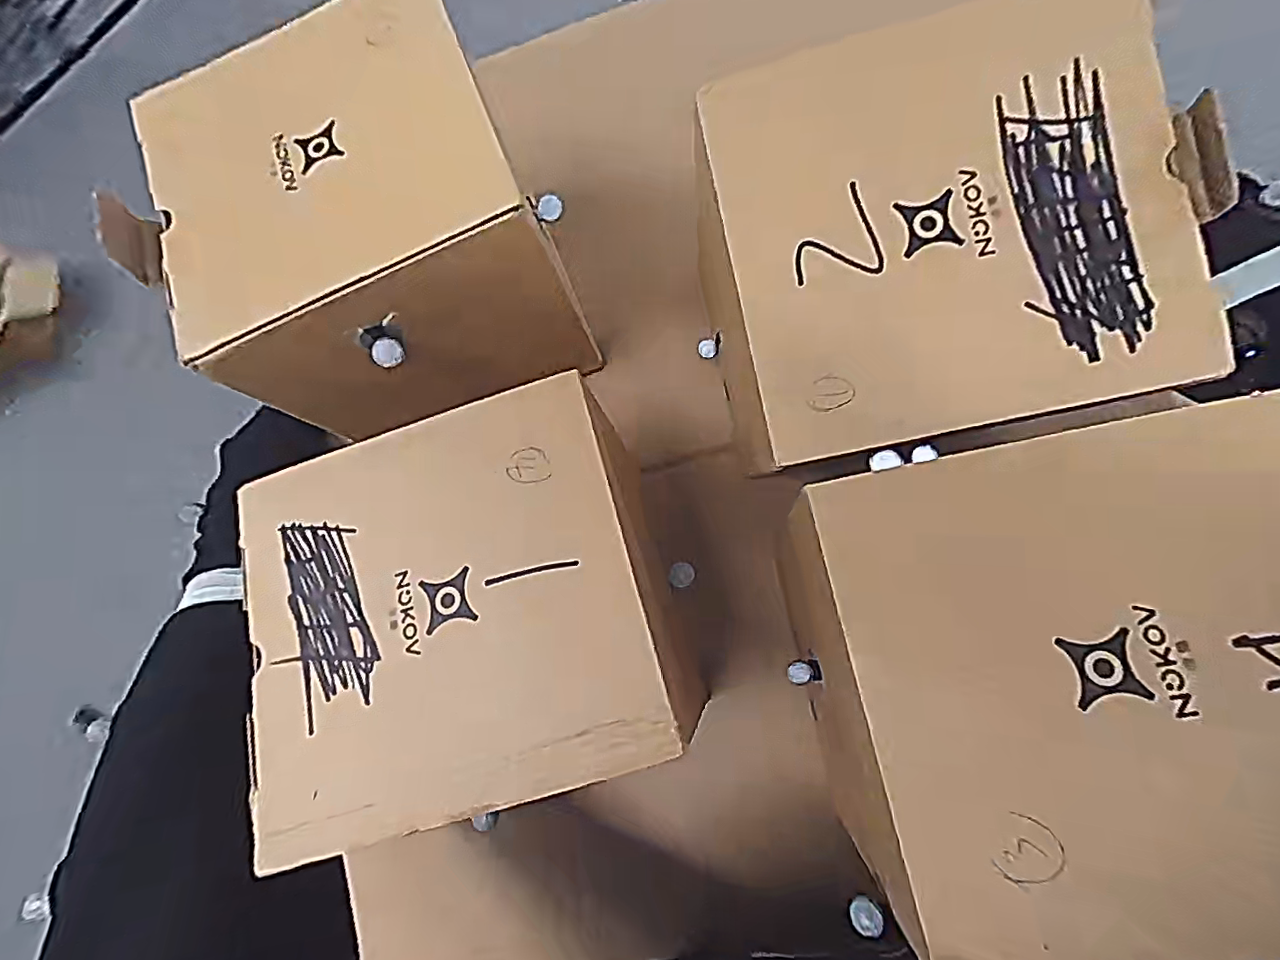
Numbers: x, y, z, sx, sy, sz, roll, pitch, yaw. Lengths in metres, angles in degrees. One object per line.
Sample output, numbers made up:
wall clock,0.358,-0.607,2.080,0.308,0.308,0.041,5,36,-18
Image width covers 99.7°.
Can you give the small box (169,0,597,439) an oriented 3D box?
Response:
small box,-0.139,-0.147,0.348,0.179,0.176,0.168,-23,75,5
